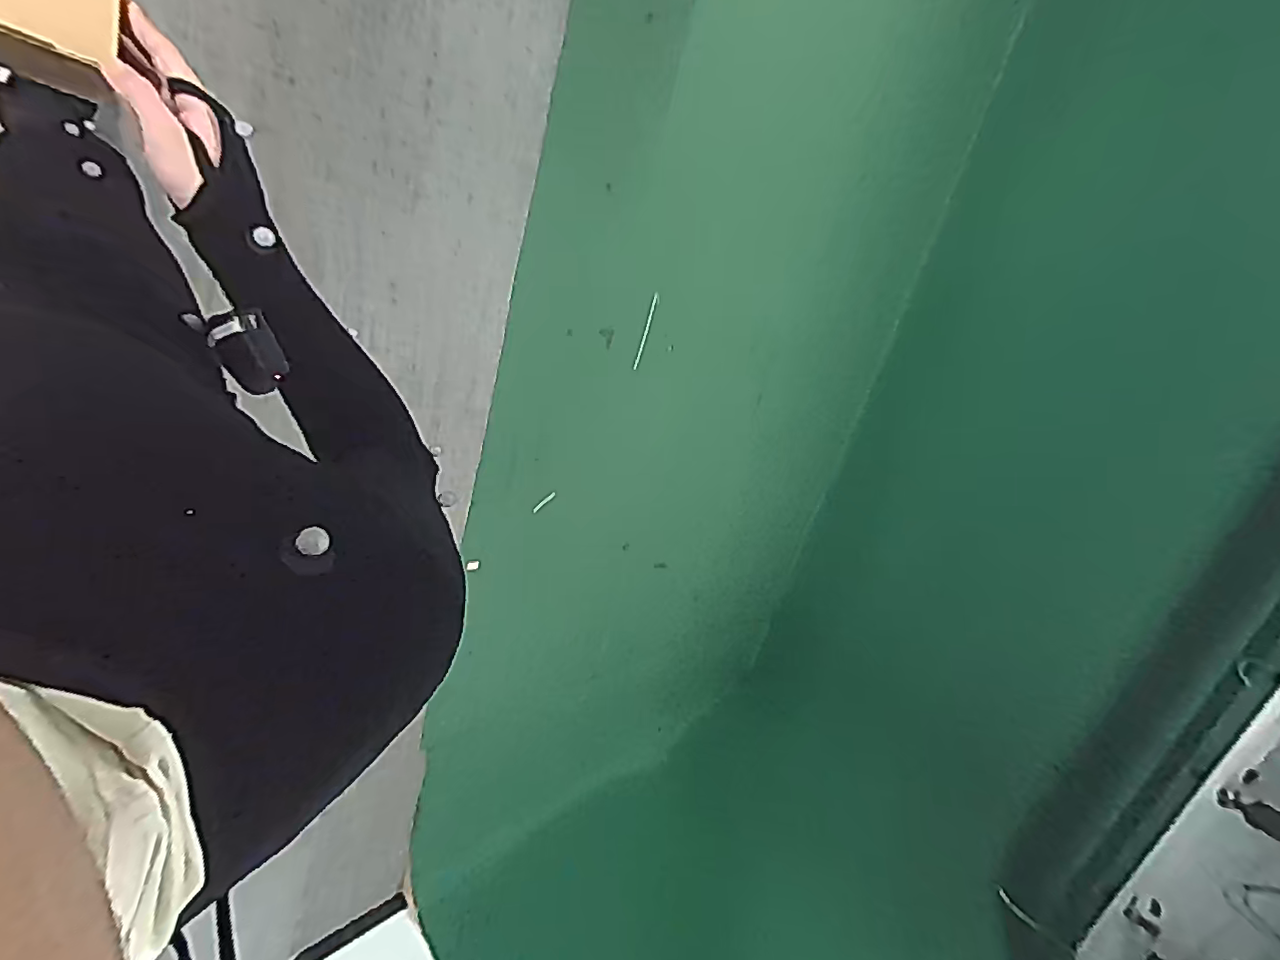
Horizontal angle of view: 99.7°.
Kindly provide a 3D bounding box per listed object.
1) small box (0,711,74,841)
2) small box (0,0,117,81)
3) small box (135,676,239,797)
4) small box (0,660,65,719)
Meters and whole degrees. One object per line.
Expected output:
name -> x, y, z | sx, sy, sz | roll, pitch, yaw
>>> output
small box -> -1.277, 0.595, 1.087 | 0.168, 0.176, 0.179 | 5, 111, -51
small box -> -0.466, -0.410, 0.358 | 0.168, 0.176, 0.179 | 1, 108, -48
small box -> -1.096, 0.609, 1.305 | 0.168, 0.176, 0.179 | 4, 111, -49
small box -> -1.392, 0.528, 1.184 | 0.168, 0.176, 0.179 | 2, 112, -51
